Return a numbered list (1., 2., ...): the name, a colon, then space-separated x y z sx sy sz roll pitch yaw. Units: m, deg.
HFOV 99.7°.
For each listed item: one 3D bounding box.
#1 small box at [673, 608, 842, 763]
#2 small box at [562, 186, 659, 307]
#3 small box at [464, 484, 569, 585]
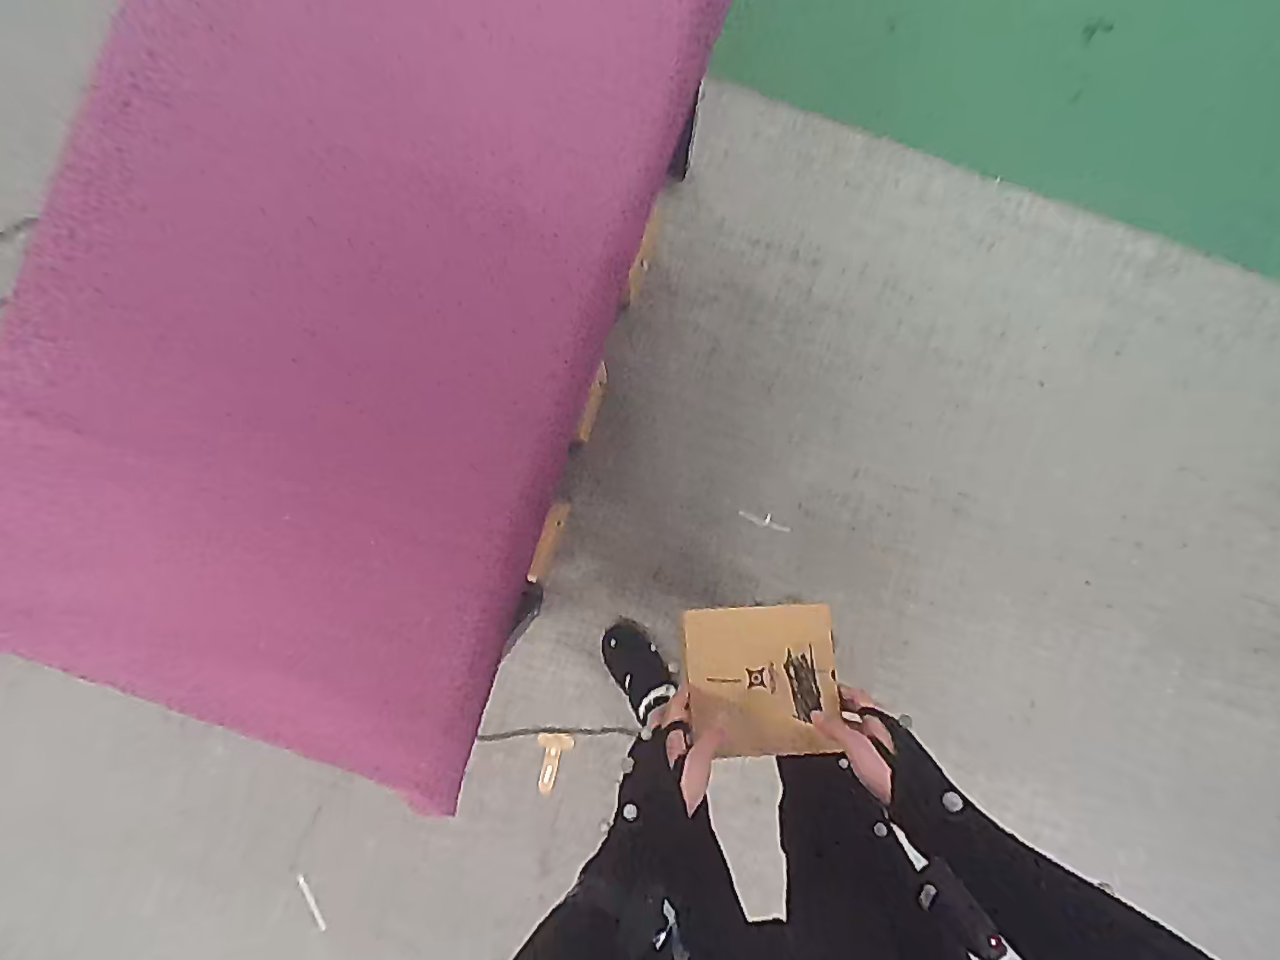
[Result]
1. small box: 0.137 0.252 0.697 0.179 0.176 0.168 -2 76 0
2. small box: -0.062 -0.526 1.246 0.168 0.176 0.179 22 89 1
3. small box: -0.270 0.119 1.226 0.168 0.176 0.179 19 87 1
